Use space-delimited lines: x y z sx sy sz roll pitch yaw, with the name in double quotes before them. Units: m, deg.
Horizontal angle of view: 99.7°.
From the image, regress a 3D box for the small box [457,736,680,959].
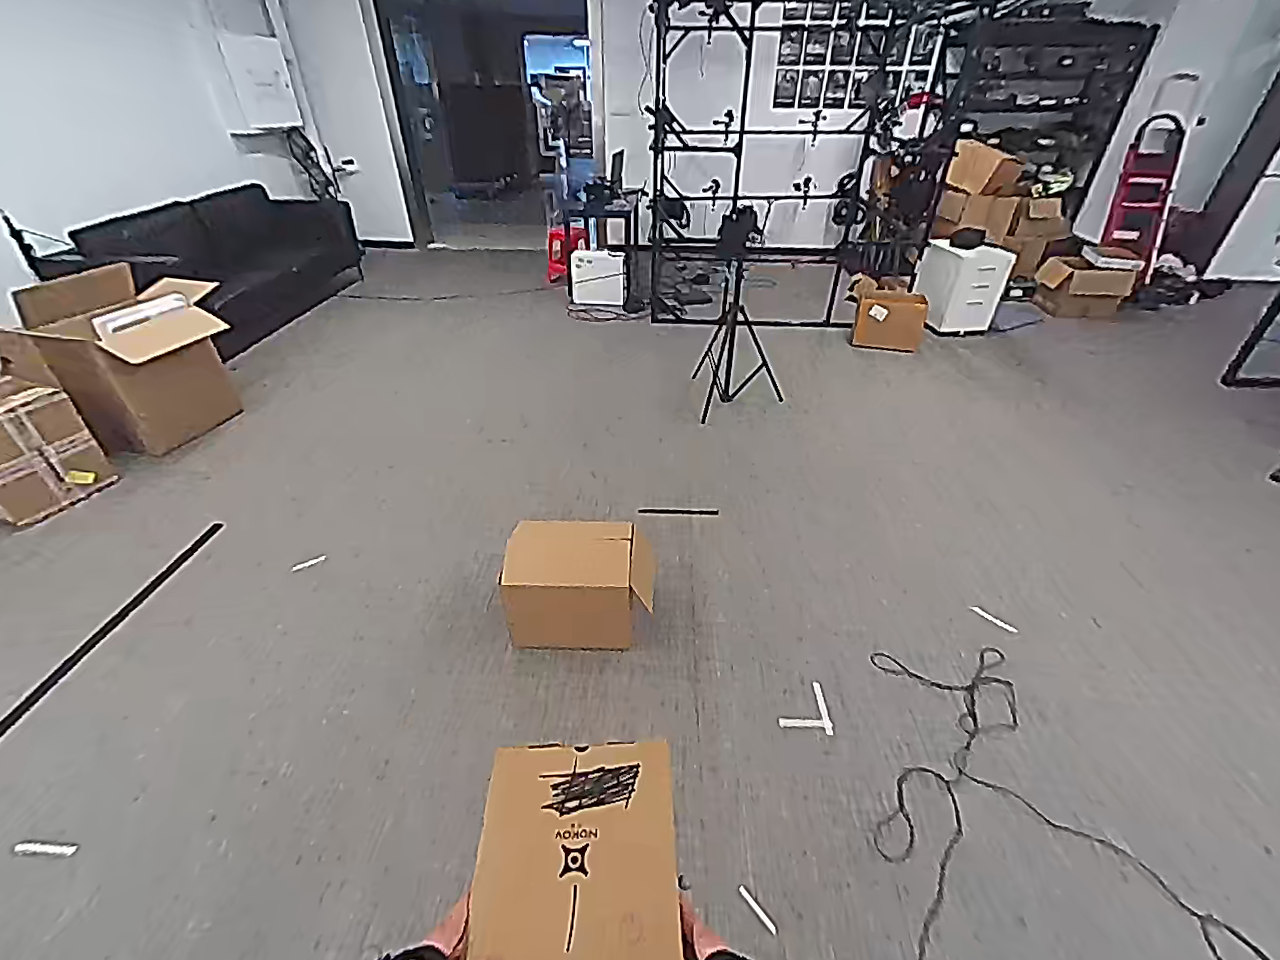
"small box" -0.054 0.367 0.505 0.168 0.176 0.179 -2 38 -1
